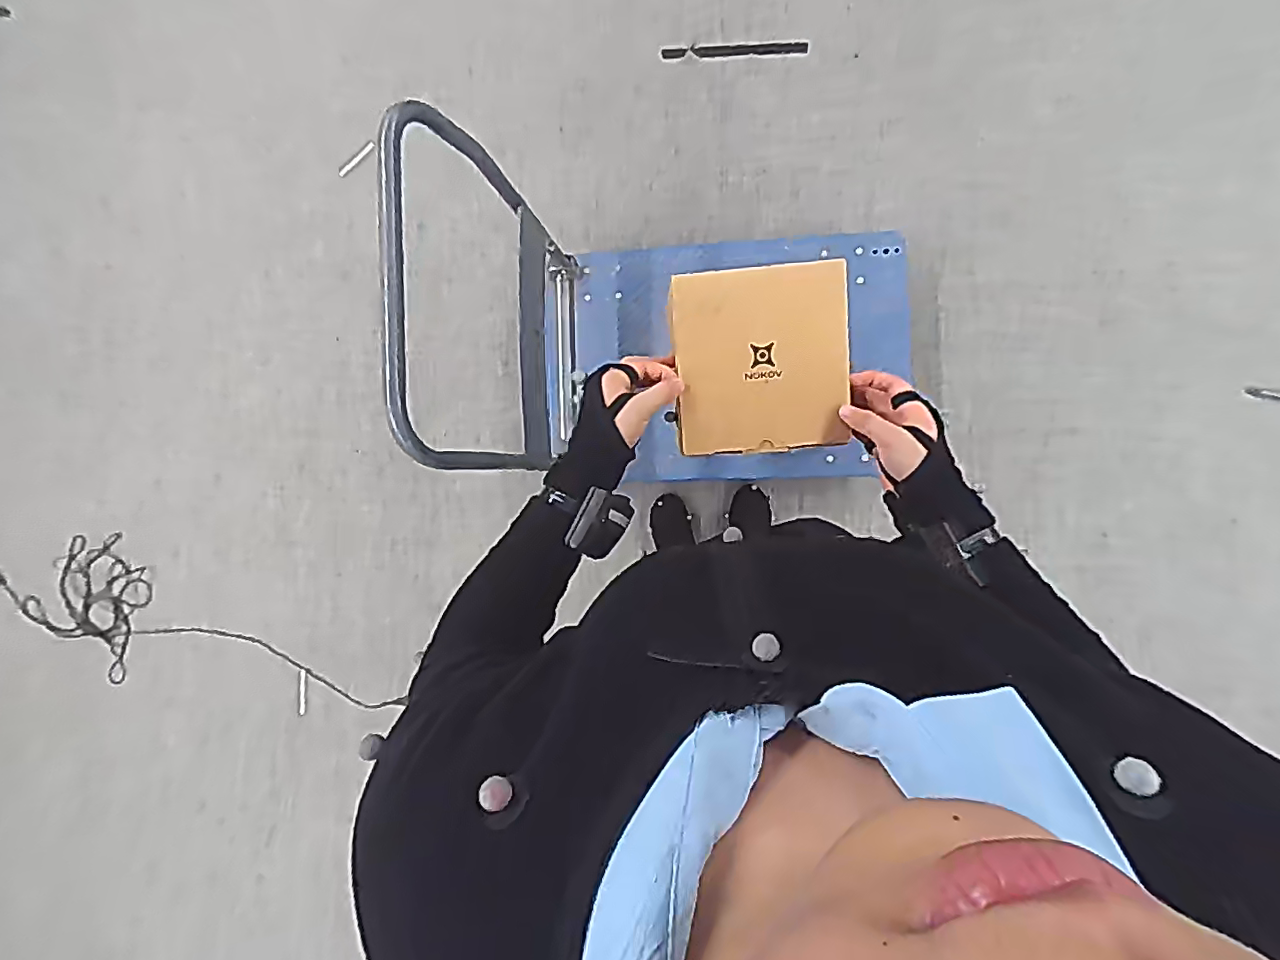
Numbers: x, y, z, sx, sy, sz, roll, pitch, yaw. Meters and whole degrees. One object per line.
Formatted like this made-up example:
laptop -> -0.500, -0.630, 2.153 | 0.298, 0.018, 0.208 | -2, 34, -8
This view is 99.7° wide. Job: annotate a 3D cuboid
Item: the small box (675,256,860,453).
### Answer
small box -> 0.127, -0.127, 0.590 | 0.168, 0.176, 0.179 | -4, 99, 3
